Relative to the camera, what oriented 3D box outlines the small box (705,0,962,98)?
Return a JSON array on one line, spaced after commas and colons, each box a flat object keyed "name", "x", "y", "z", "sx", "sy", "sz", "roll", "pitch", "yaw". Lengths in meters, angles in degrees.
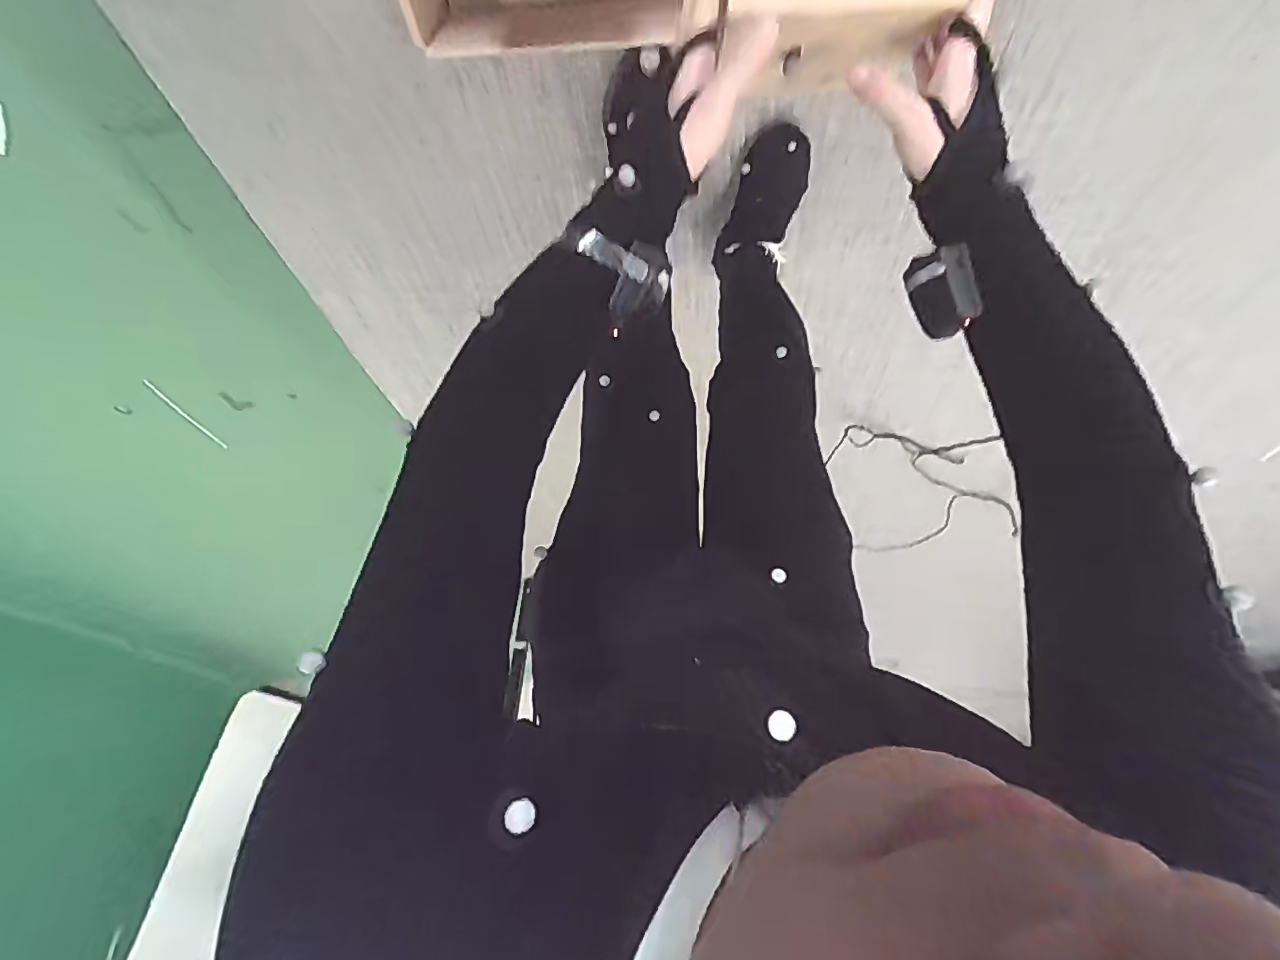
[{"name": "small box", "x": 0.139, "y": -0.421, "z": 0.417, "sx": 0.168, "sy": 0.176, "sz": 0.179, "roll": -1, "pitch": 107, "yaw": 3}]
